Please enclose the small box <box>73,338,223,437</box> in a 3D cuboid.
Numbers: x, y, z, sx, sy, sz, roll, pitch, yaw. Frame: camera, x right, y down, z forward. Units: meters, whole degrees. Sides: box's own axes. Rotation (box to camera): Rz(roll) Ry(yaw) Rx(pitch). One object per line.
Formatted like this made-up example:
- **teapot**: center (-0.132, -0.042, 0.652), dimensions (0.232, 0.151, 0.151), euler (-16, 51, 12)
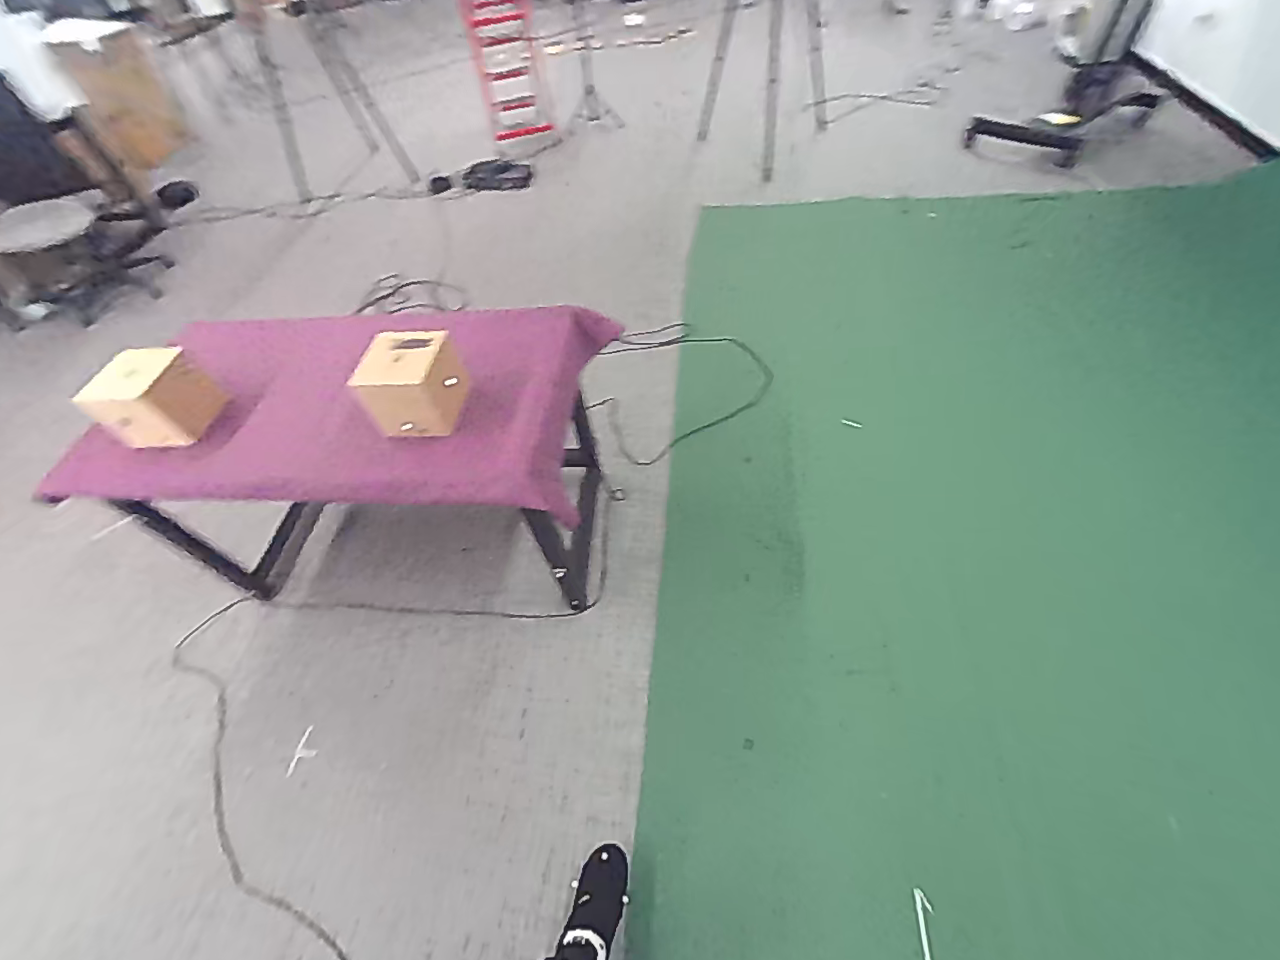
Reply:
- **small box**: center (-1.163, -0.217, 1.299), dimensions (0.168, 0.176, 0.179), euler (0, 52, 6)
